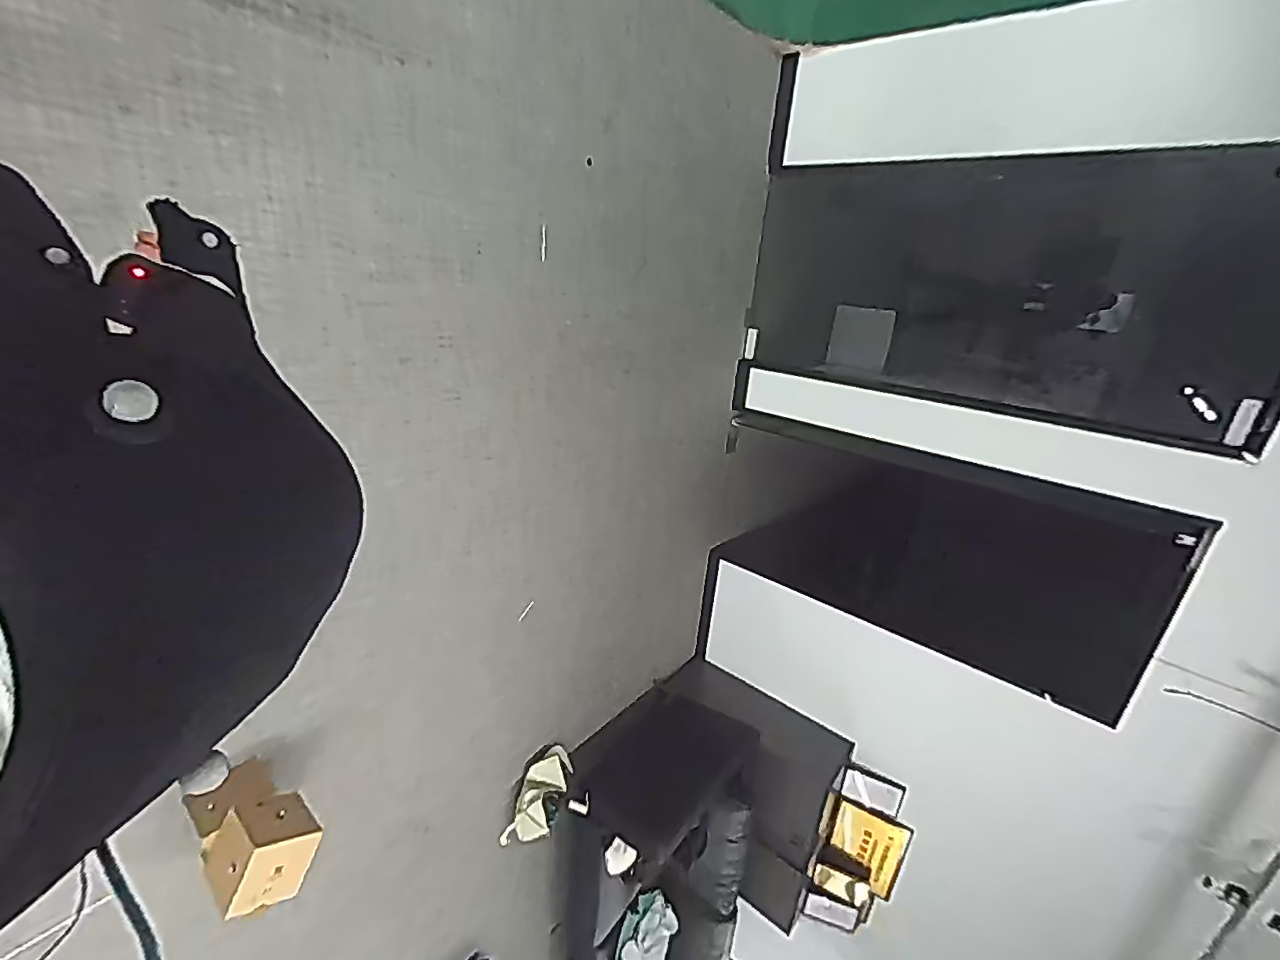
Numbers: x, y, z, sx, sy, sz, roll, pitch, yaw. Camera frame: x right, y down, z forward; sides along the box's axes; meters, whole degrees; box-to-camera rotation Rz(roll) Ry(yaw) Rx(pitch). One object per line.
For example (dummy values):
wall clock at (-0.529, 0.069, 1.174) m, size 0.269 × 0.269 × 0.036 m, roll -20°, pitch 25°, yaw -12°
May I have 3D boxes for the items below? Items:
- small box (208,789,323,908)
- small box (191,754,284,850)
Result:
small box at (-0.958, 0.921, 1.379) m, size 0.168 × 0.176 × 0.179 m, roll 27°, pitch 85°, yaw -55°
small box at (-1.077, 0.894, 1.463) m, size 0.179 × 0.176 × 0.168 m, roll -26°, pitch 128°, yaw -46°
